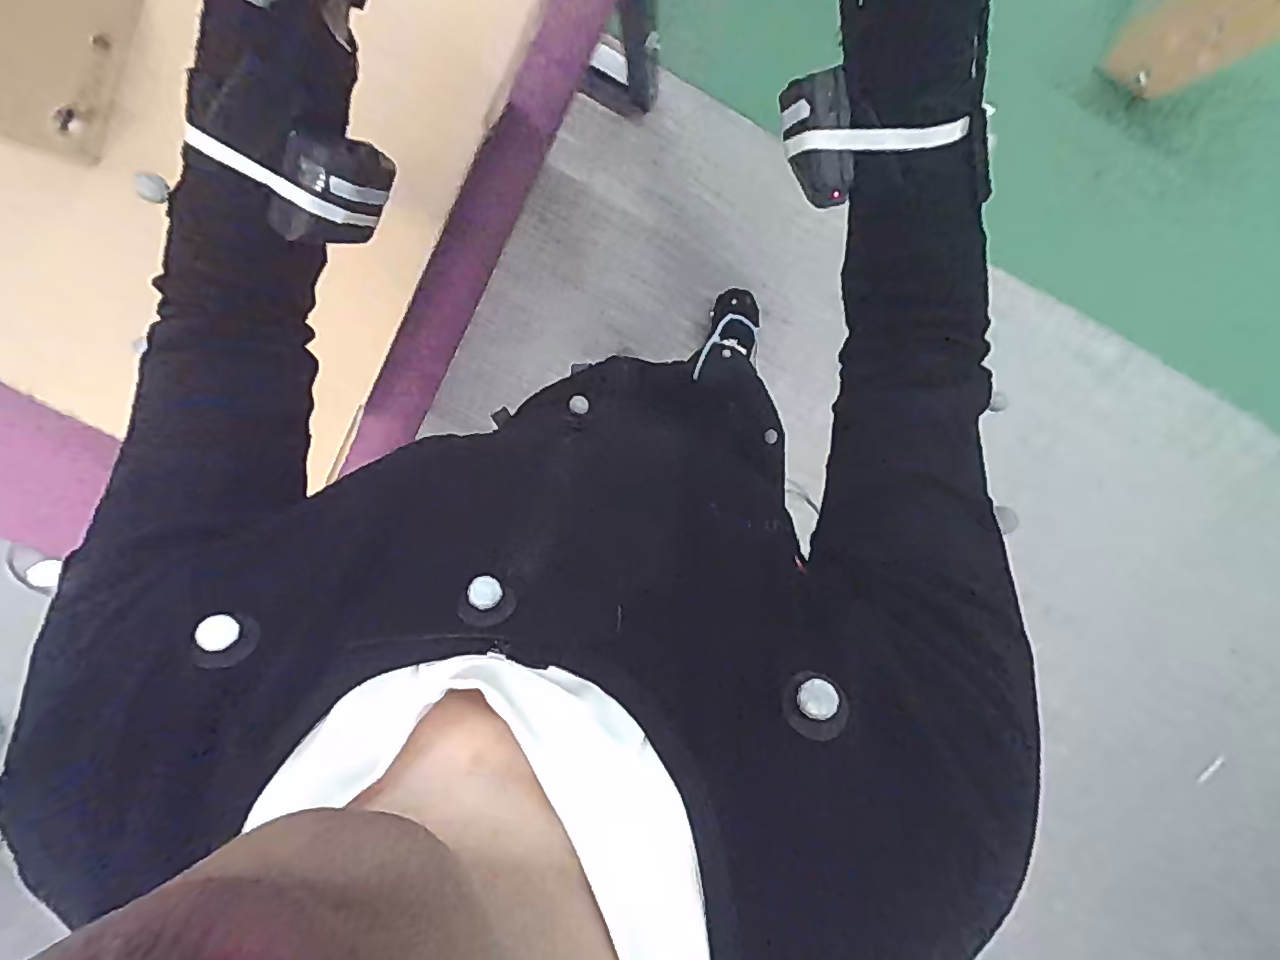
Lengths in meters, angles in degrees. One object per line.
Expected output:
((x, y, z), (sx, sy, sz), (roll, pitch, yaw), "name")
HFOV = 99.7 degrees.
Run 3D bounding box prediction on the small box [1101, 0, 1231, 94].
((1.125, -0.957, 1.118), (0.168, 0.176, 0.179), (26, 104, -4), "small box")
